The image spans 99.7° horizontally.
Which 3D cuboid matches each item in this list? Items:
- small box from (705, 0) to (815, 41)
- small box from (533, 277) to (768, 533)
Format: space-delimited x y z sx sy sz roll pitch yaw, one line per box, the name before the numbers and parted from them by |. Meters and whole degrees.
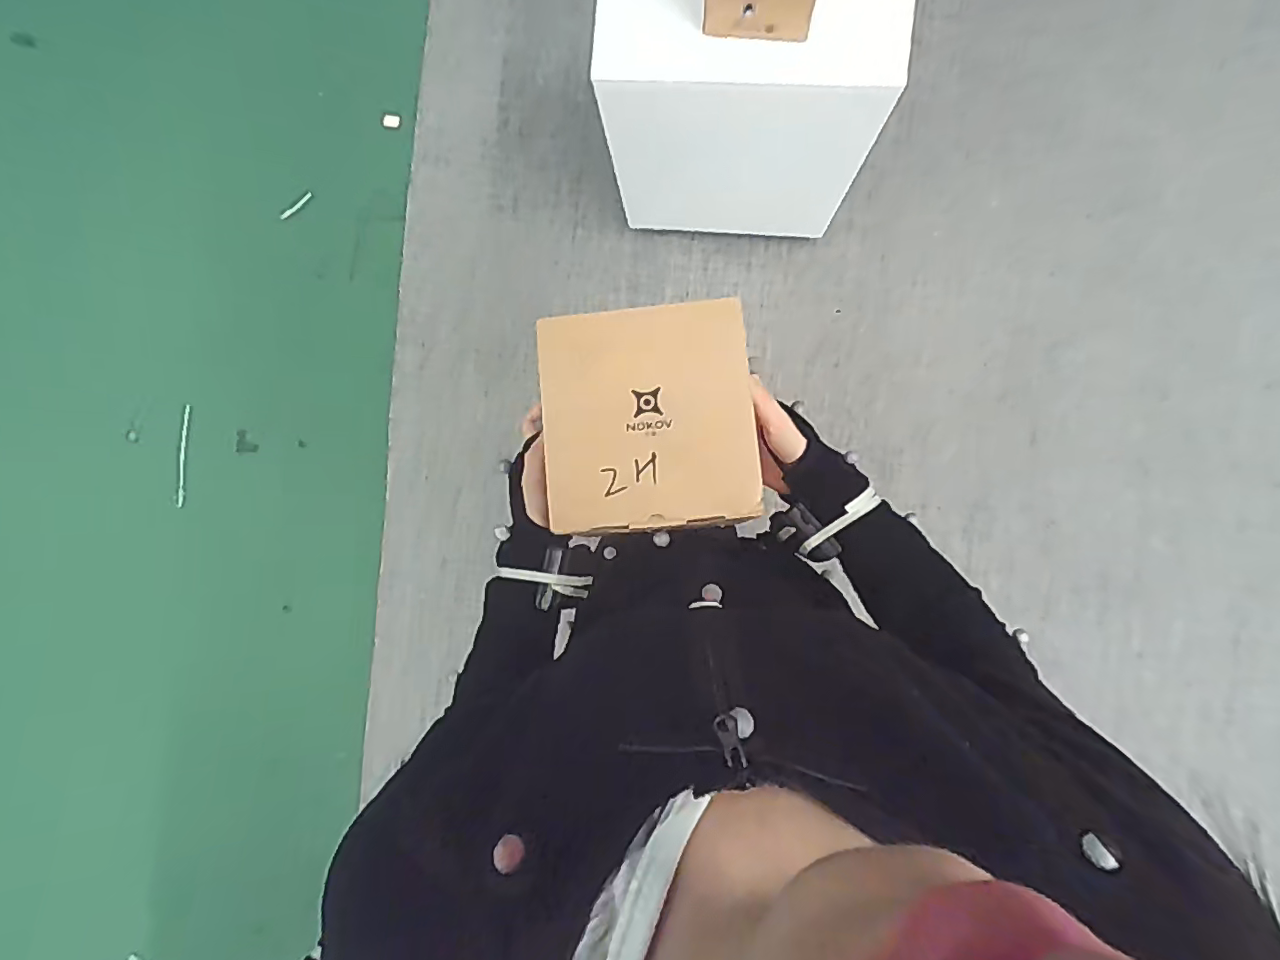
small box | 0.185 -0.790 0.778 0.168 0.176 0.179 8 90 6
small box | 0.010 -0.050 0.480 0.168 0.176 0.179 -6 82 4
